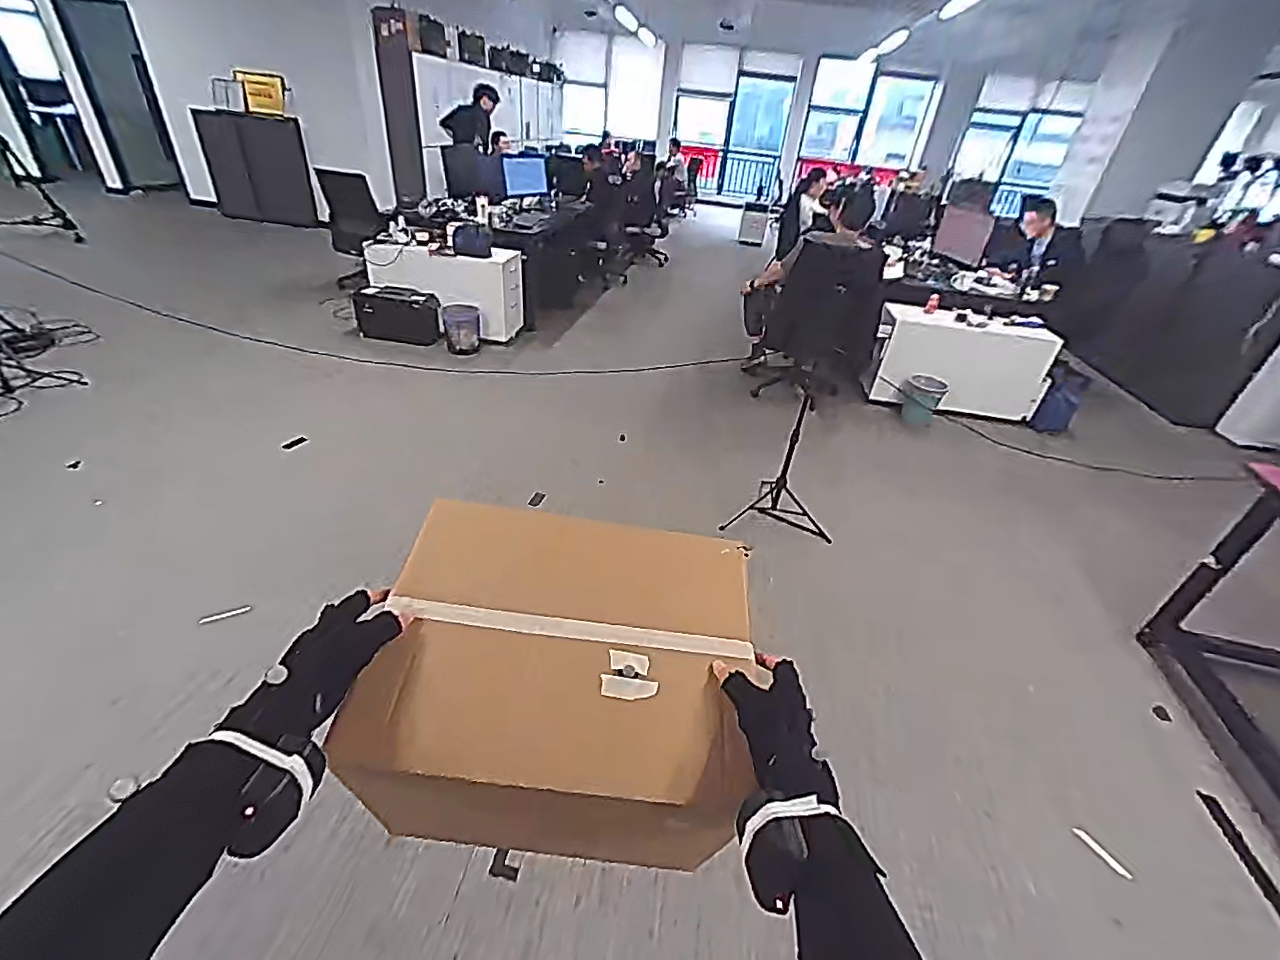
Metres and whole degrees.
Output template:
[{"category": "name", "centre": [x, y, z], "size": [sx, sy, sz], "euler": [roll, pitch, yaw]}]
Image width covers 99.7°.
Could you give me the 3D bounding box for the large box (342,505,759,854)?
[{"category": "large box", "centre": [-0.094, 0.268, 0.716], "size": [0.408, 0.320, 0.320], "euler": [9, 46, -3]}]
